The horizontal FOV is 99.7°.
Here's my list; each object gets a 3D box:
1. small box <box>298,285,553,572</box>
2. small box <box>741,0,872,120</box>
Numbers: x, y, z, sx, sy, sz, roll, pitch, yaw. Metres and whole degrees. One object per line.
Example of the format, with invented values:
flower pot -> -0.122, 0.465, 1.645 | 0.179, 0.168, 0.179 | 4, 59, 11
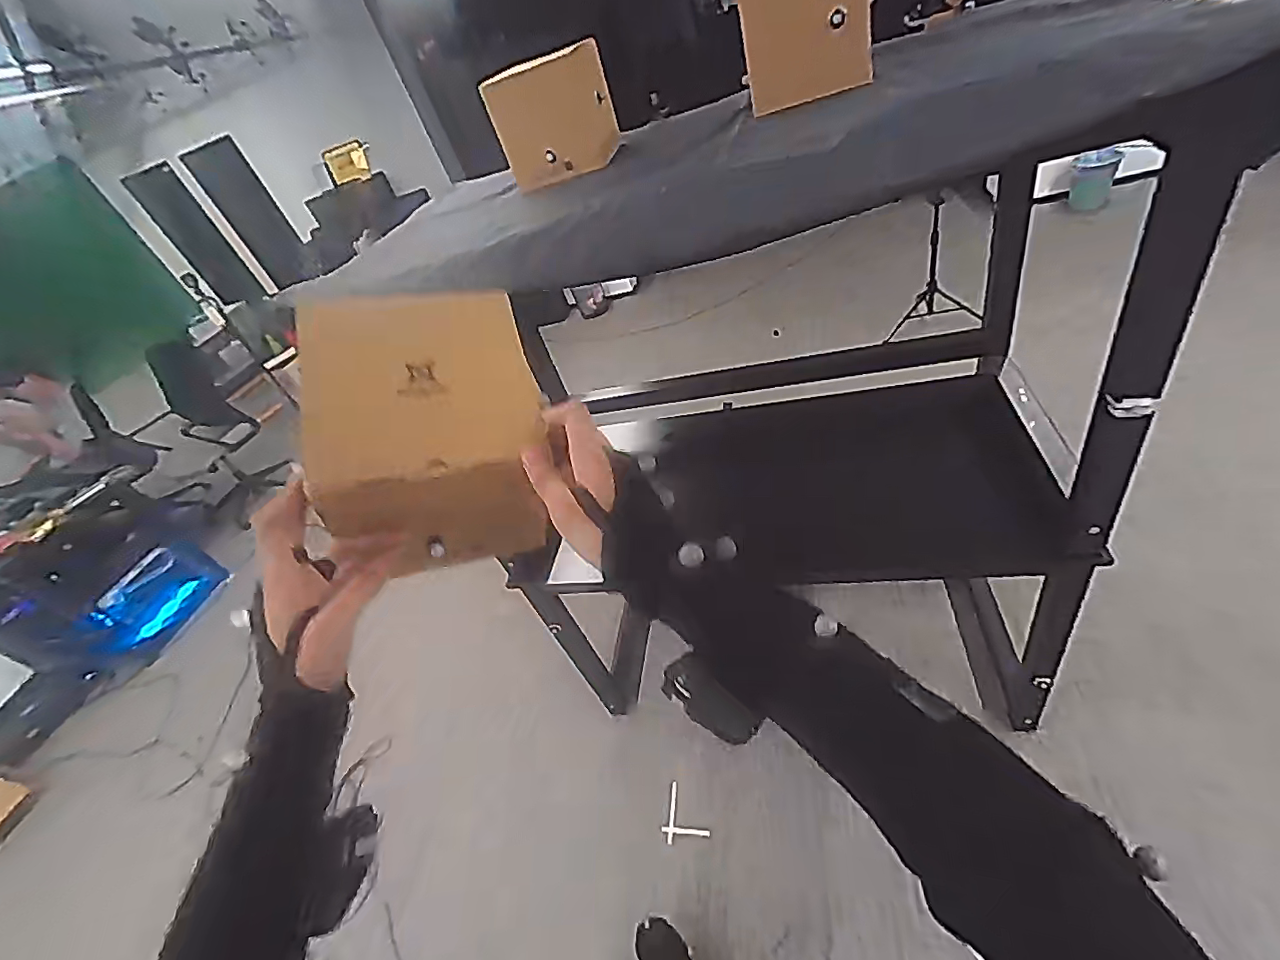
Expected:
small box -> -0.181, -0.043, 0.474 | 0.168, 0.176, 0.179 | -11, 62, -19
small box -> 0.260, -0.689, 0.834 | 0.179, 0.176, 0.168 | -5, 41, 20
